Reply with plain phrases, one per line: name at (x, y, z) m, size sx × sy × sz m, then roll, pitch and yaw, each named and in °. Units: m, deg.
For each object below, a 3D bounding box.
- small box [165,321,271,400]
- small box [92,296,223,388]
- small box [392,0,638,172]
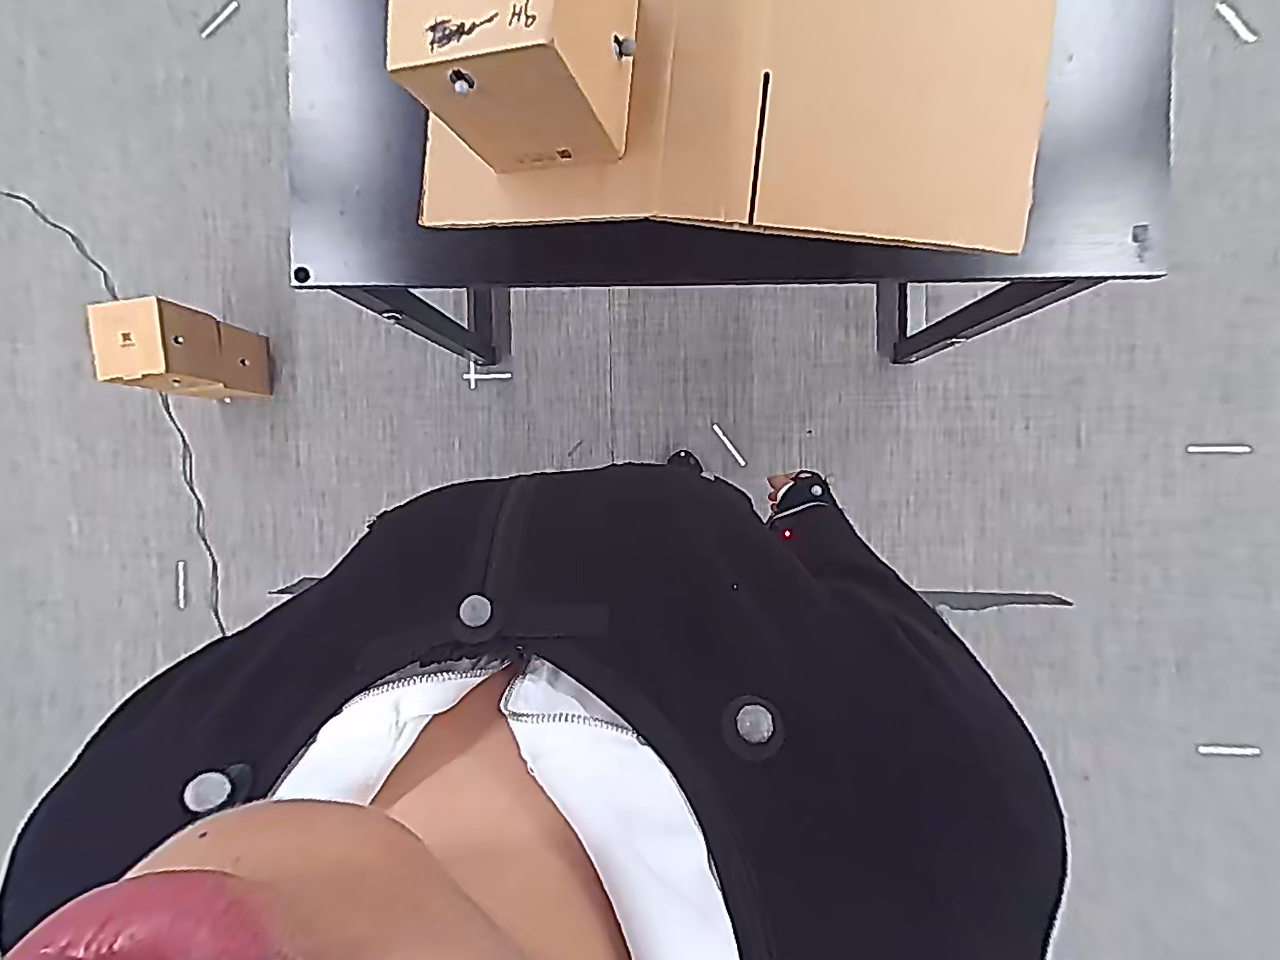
small box at (-1.139, -0.319, 1.464) m, size 0.168 × 0.176 × 0.179 m, roll -3°, pitch 92°, yaw 3°
small box at (-1.149, -0.321, 1.301) m, size 0.168 × 0.176 × 0.179 m, roll -7°, pitch 90°, yaw 2°
small box at (-0.108, -0.437, 0.527) m, size 0.168 × 0.176 × 0.179 m, roll 6°, pitch 91°, yaw 19°
